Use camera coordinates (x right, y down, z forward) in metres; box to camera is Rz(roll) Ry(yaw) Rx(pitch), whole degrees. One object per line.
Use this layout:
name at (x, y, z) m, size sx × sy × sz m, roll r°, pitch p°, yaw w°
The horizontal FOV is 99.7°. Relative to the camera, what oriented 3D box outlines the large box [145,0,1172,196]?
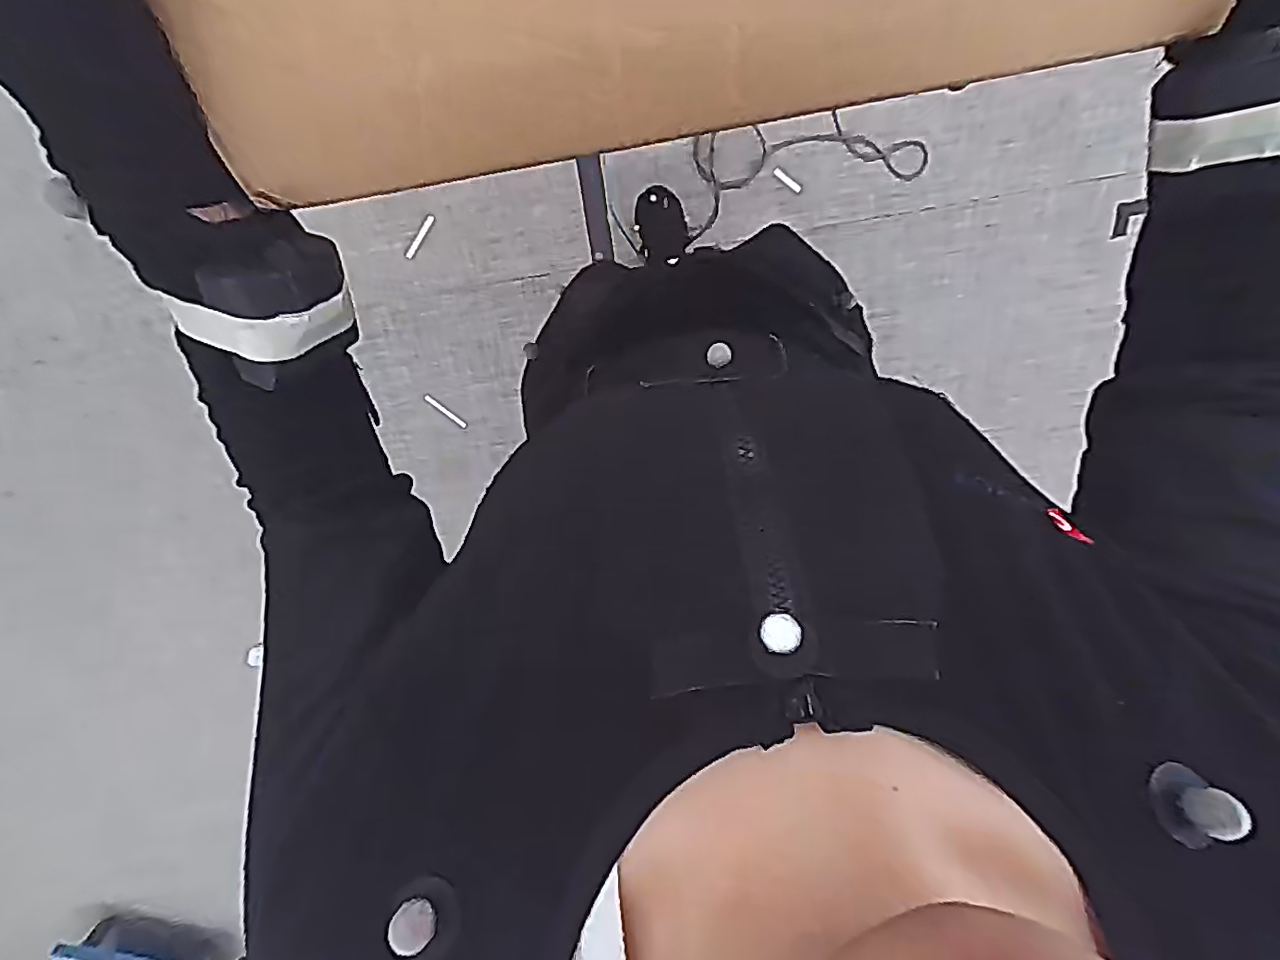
large box at (-0.006, -0.370, 0.224) m, size 0.408 × 0.320 × 0.320 m, roll -9°, pitch 136°, yaw 2°
